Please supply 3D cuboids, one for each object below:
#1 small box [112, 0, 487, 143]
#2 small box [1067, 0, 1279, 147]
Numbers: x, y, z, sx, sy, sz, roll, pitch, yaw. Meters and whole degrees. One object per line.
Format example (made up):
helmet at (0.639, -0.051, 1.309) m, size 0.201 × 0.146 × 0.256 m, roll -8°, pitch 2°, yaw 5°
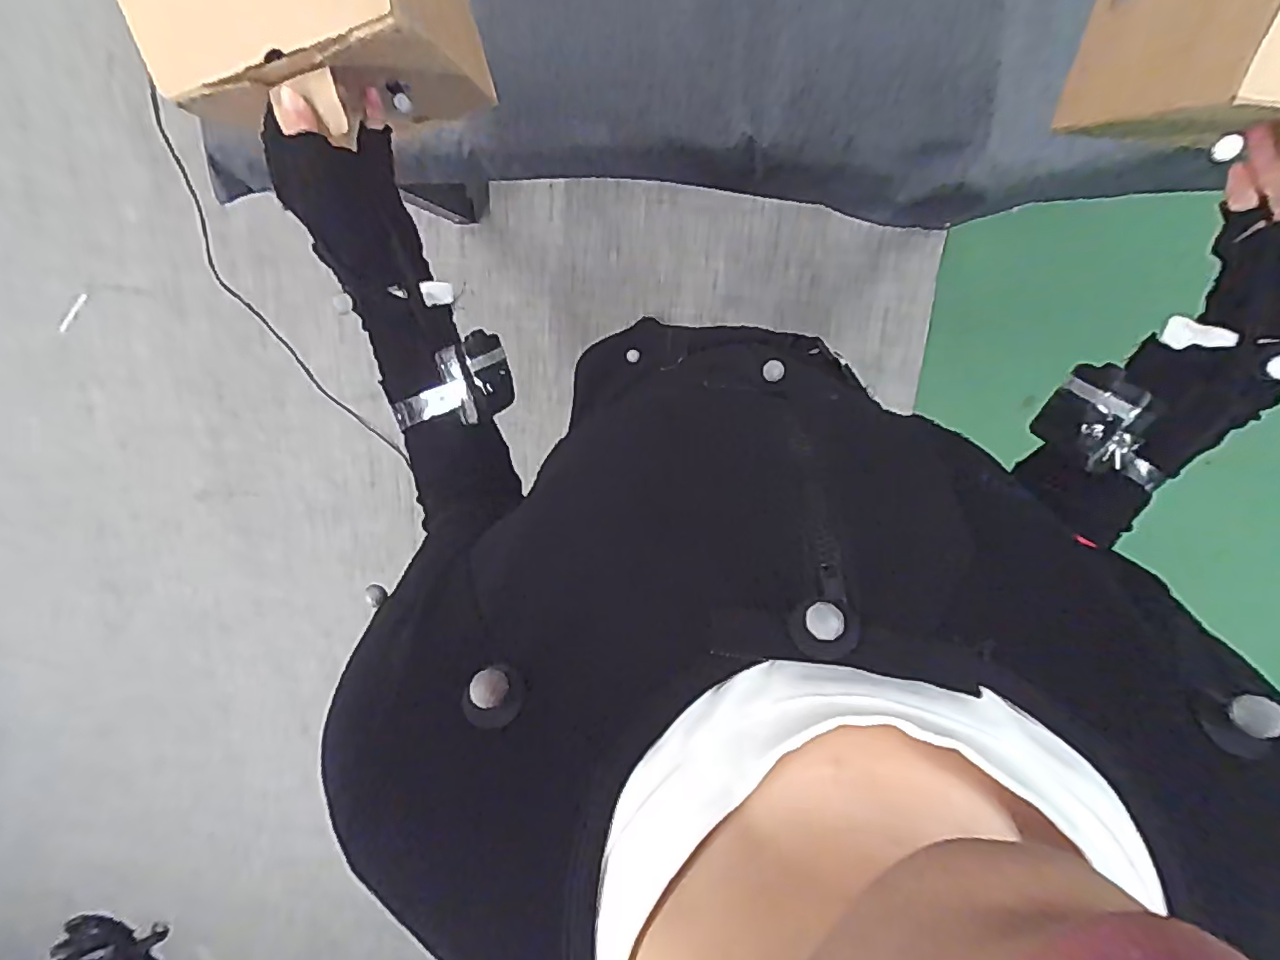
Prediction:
small box at (-0.226, -0.352, 0.363) m, size 0.168 × 0.176 × 0.179 m, roll -12°, pitch 107°, yaw 10°
small box at (0.405, -0.304, 0.316) m, size 0.168 × 0.176 × 0.179 m, roll 5°, pitch 119°, yaw 1°
